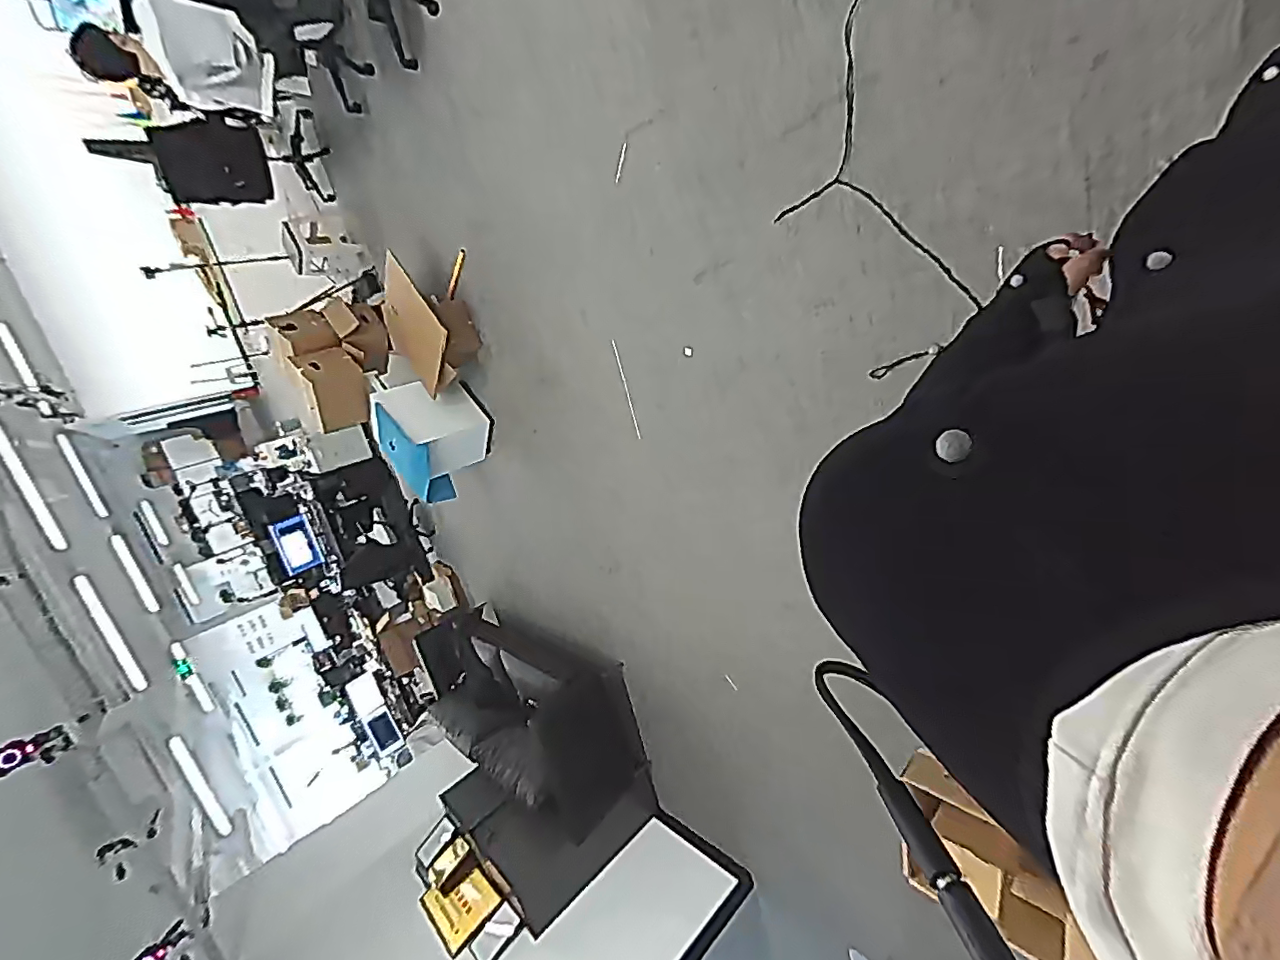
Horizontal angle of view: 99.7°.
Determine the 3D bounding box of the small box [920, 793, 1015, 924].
[{"bbox_3d":[0.838,0.958,1.384,0.168,0.176,0.179,12,118,47],"label":"small box"}]
